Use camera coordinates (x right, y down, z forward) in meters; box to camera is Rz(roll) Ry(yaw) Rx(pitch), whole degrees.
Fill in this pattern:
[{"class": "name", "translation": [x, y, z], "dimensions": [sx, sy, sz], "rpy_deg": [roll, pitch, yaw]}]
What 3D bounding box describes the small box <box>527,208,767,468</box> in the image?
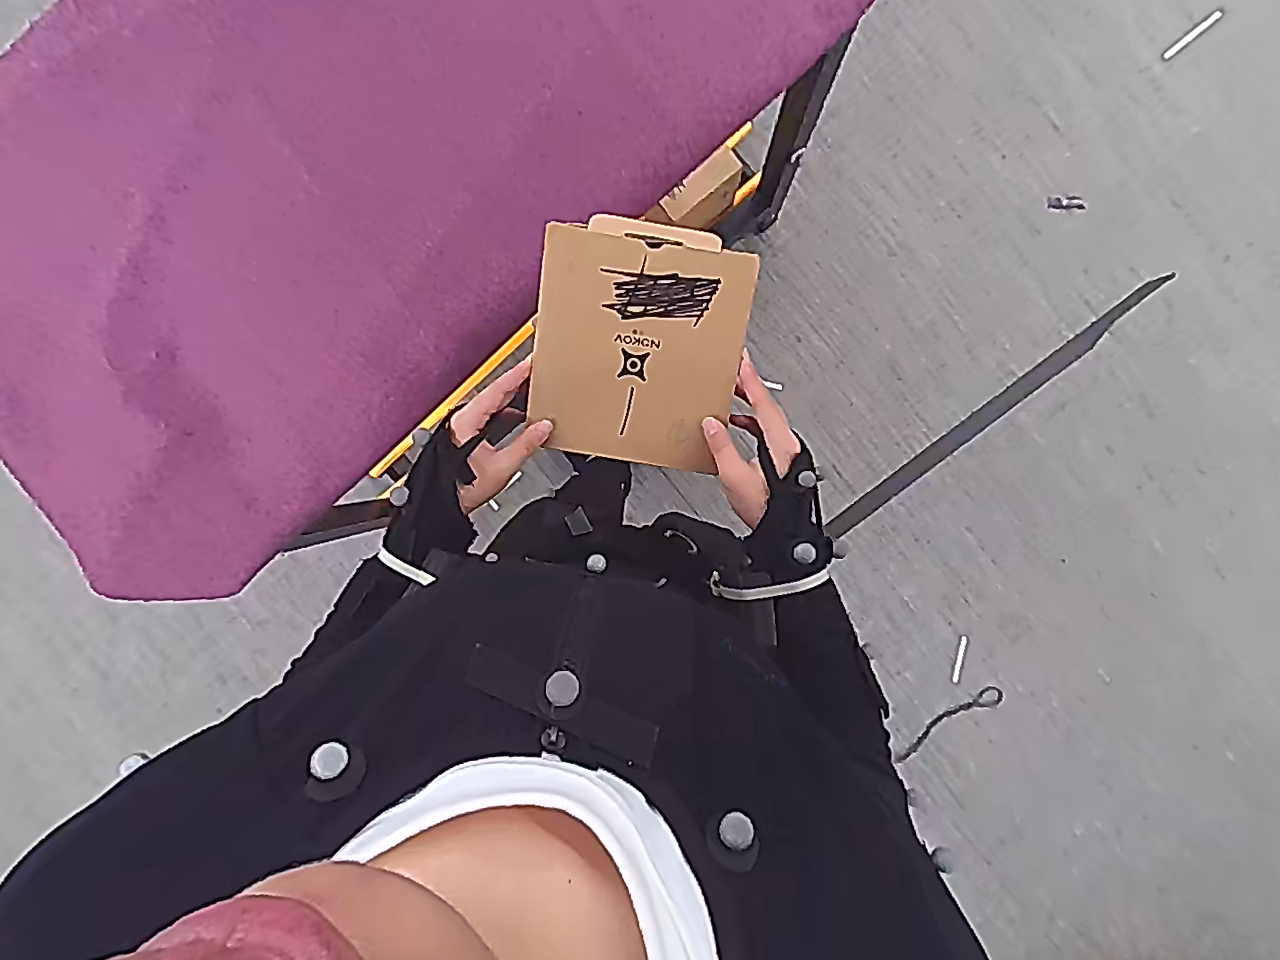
[{"class": "small box", "translation": [0.004, -0.122, 0.498], "dimensions": [0.168, 0.176, 0.179], "rpy_deg": [9, 102, 0]}]
